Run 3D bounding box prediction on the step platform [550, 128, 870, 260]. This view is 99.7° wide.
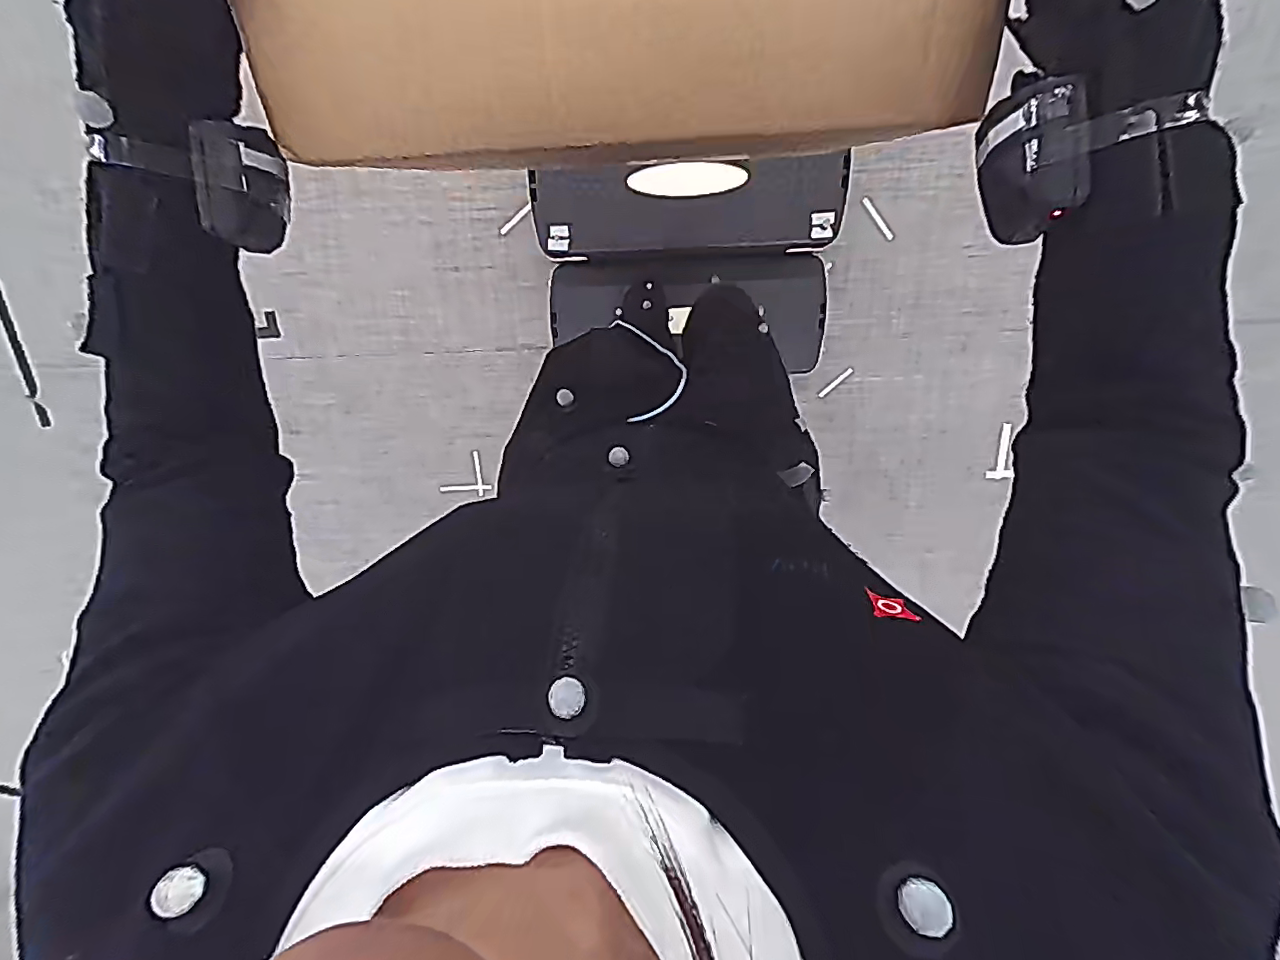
[{"bbox_3d":[0.144,-0.661,1.206,0.684,0.204,0.286,-2,110,3],"label":"step platform"}]

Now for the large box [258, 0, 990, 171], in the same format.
[{"bbox_3d":[-0.014,-0.412,0.379,0.408,0.320,0.320,-2,120,3],"label":"large box"}]
